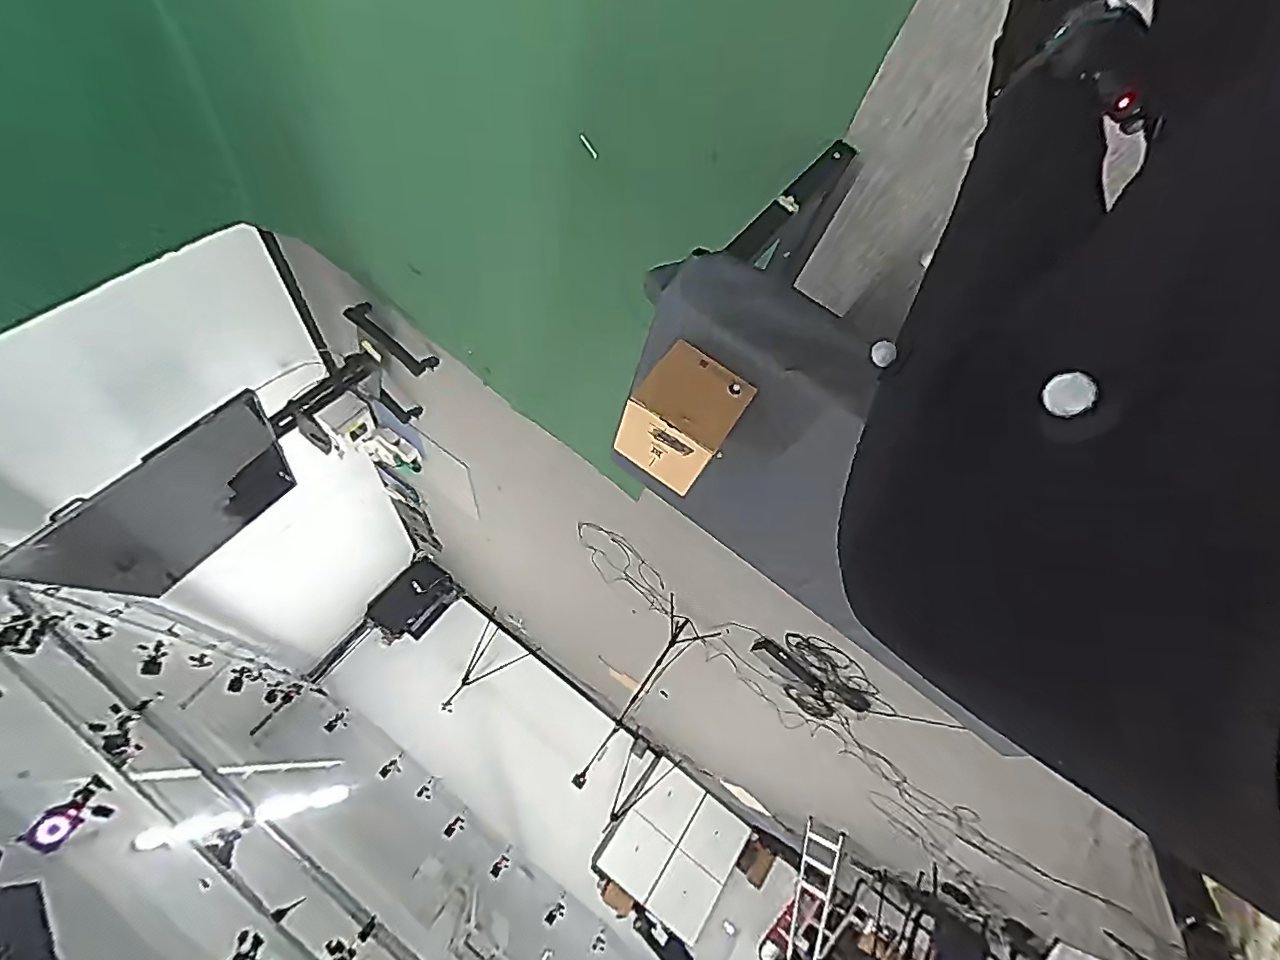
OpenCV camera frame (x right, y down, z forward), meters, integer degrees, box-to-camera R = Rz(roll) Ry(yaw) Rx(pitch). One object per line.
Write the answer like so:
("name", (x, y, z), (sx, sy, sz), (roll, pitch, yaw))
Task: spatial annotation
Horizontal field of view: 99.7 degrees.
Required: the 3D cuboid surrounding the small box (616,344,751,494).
("small box", (0.081, -0.112, 0.988), (0.168, 0.176, 0.179), (35, 153, 5))
